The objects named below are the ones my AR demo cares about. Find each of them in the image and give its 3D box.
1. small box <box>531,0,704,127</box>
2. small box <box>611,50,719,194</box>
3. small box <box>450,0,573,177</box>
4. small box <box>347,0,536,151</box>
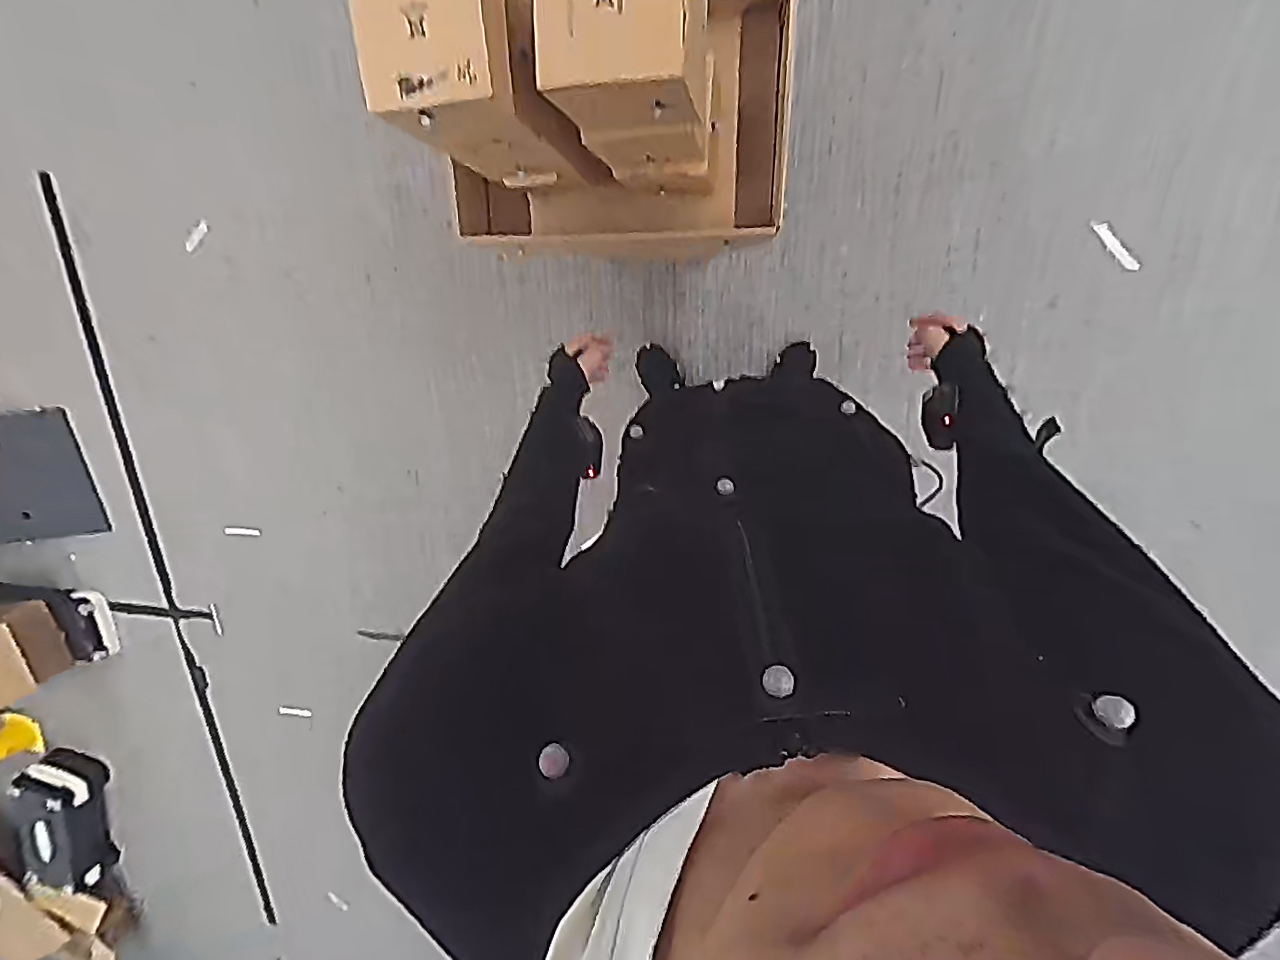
[{"bbox_3d":[-0.019,-0.549,0.656,0.179,0.176,0.168,5,108,13],"label":"small box"},{"bbox_3d":[0.049,-0.627,0.967,0.168,0.176,0.179,6,108,12],"label":"small box"},{"bbox_3d":[-0.210,-0.599,0.848,0.168,0.176,0.179,0,107,10],"label":"small box"},{"bbox_3d":[-0.244,-0.552,0.693,0.168,0.176,0.179,1,106,11],"label":"small box"}]
